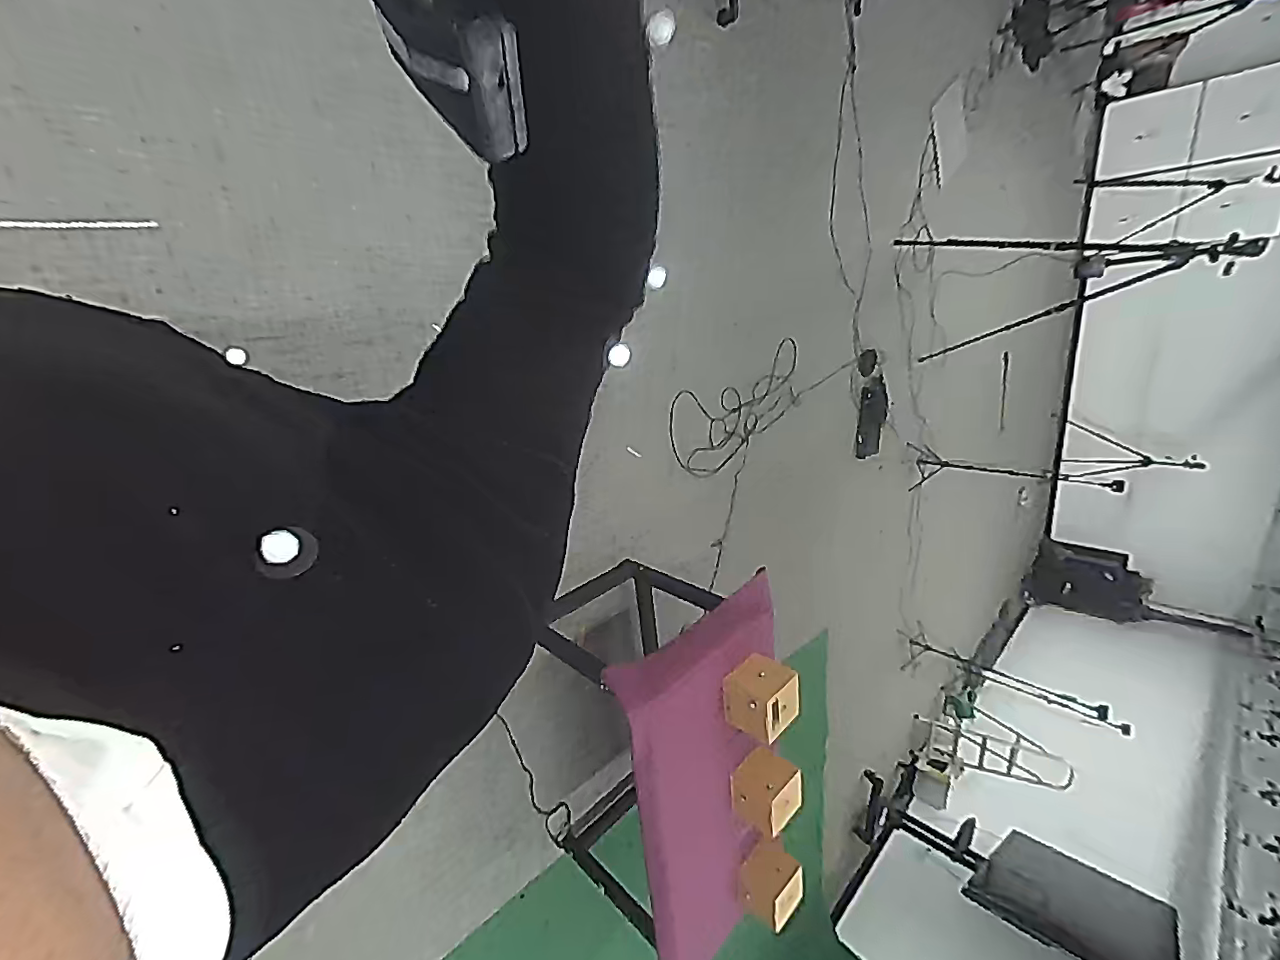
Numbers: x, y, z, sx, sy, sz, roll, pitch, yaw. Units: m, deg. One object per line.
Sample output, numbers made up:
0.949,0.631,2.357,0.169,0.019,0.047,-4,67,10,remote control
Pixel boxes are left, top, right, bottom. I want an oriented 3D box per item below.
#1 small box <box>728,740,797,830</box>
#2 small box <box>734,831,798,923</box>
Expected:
0.423,1.042,1.866,0.179,0.176,0.168,-22,114,-38,small box
0.468,1.459,2.002,0.179,0.176,0.168,-21,112,-39,small box
